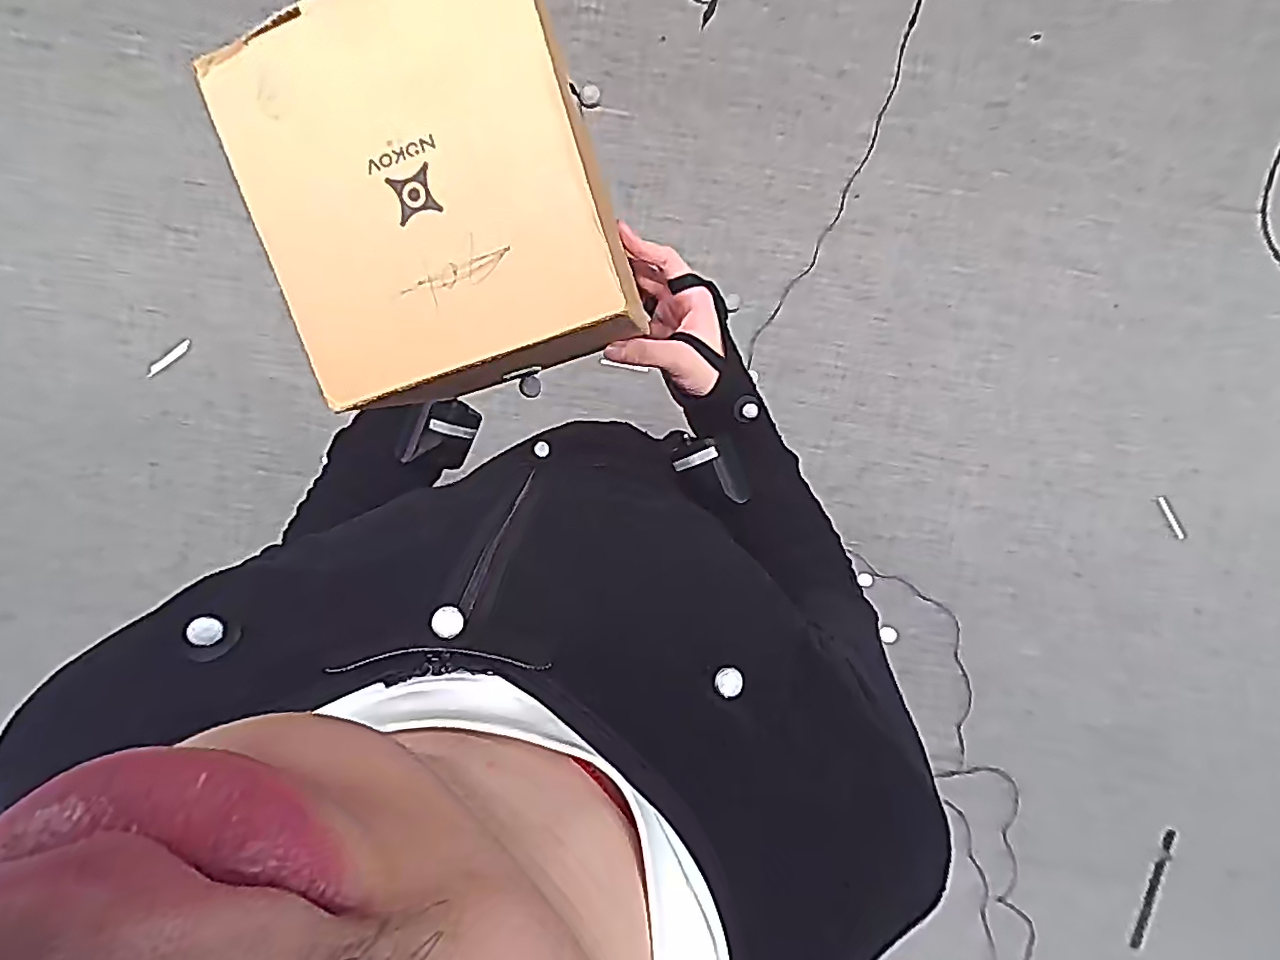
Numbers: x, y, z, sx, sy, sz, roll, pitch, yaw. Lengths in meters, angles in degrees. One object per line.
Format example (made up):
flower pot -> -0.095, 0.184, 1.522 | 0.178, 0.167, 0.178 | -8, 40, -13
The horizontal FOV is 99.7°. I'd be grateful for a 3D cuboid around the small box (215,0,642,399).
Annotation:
small box -> -0.103, -0.160, 0.348 | 0.168, 0.176, 0.179 | -16, 100, 8
